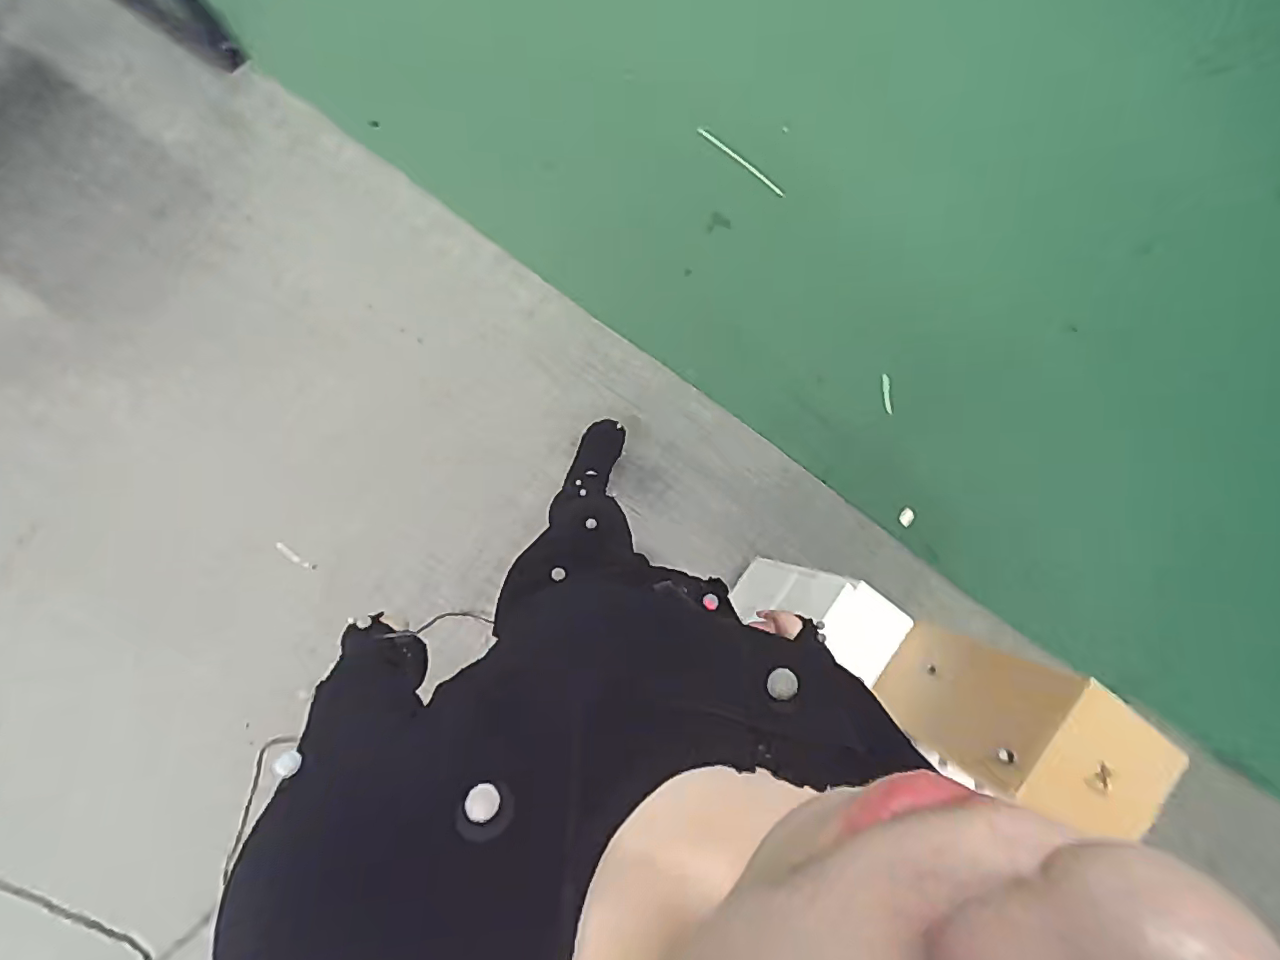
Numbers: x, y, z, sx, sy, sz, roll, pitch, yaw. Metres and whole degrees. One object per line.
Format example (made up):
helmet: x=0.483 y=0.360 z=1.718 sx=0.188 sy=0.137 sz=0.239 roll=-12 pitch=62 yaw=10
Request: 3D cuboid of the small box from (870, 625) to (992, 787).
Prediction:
small box: x=0.509 y=0.358 z=0.869 sx=0.168 sy=0.176 sz=0.179 roll=37 pitch=83 yaw=-3

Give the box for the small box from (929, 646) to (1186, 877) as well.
small box: x=0.526 y=0.346 z=0.707 sx=0.168 sy=0.176 sz=0.179 roll=39 pitch=85 yaw=-4
